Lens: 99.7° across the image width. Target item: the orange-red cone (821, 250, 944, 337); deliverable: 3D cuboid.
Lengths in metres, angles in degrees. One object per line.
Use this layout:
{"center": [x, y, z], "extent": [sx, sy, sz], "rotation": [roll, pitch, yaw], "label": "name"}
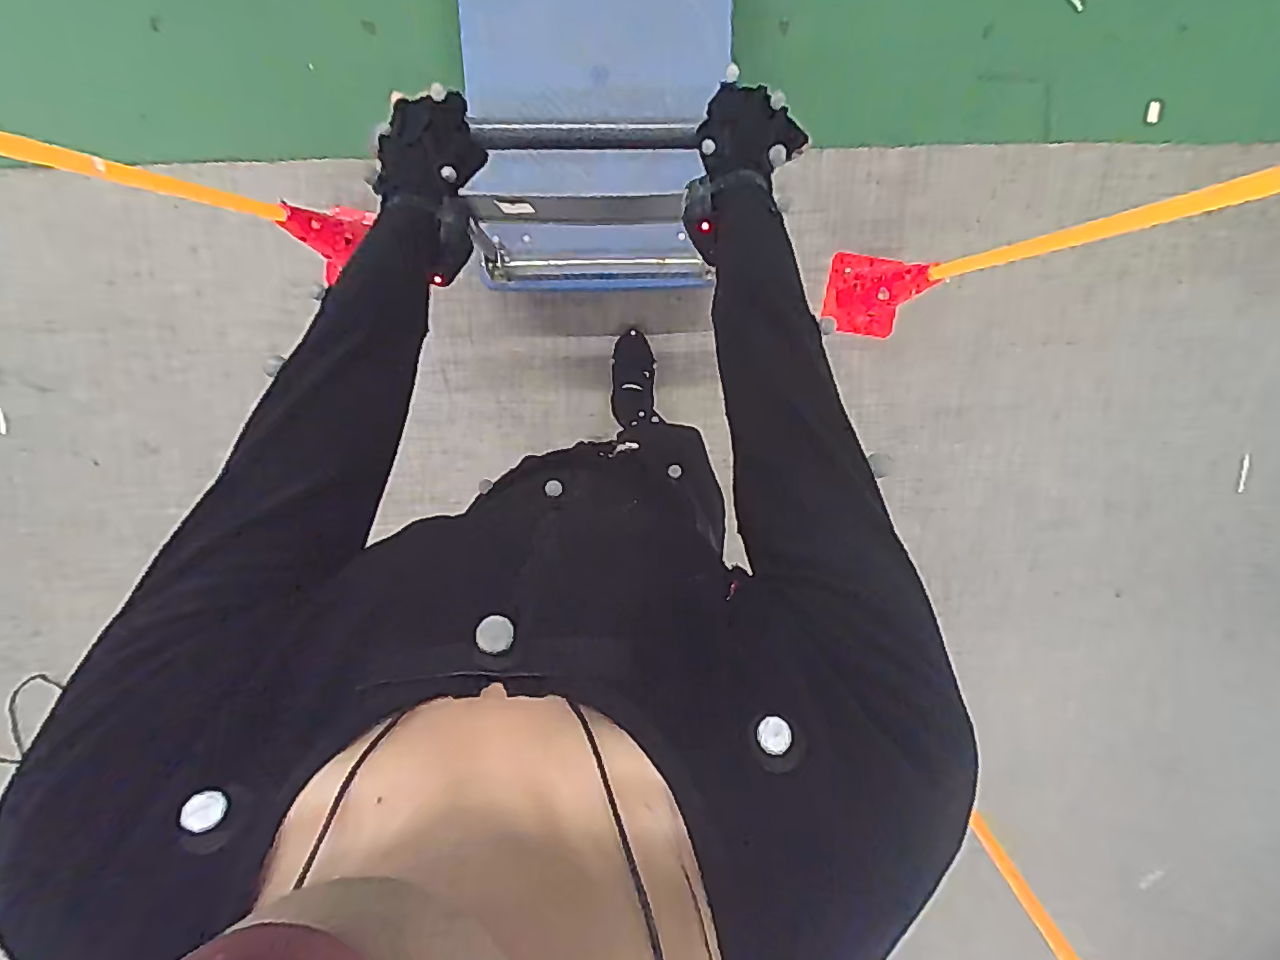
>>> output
{"center": [0.591, -0.453, 1.257], "extent": [0.198, 0.360, 0.199], "rotation": [9, 102, -3], "label": "orange-red cone"}
